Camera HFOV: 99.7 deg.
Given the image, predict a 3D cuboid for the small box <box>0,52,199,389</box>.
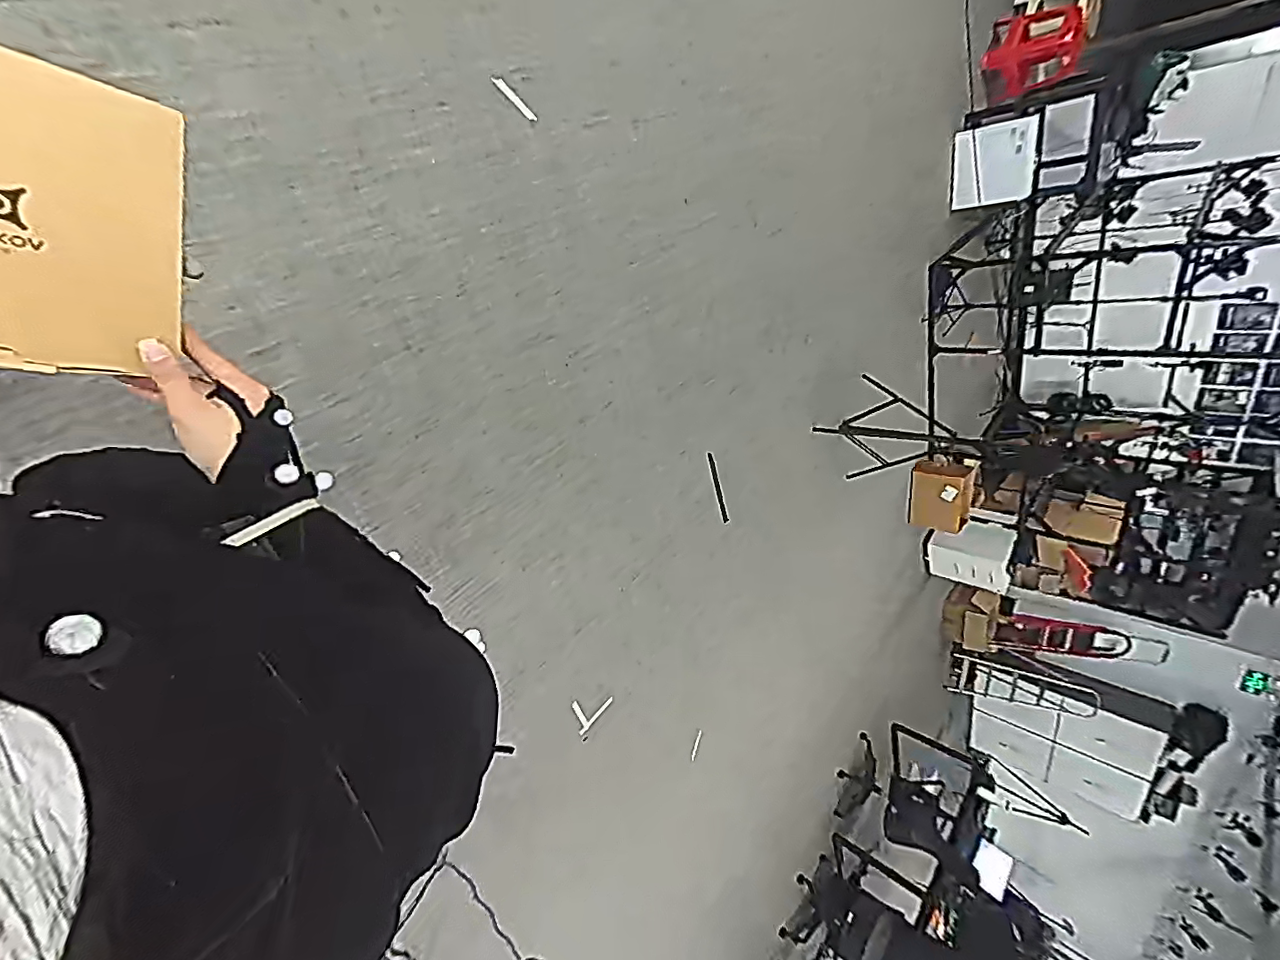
[{"bbox_3d":[-0.416,-0.167,0.356,0.168,0.176,0.179,-2,108,-49],"label":"small box"}]
